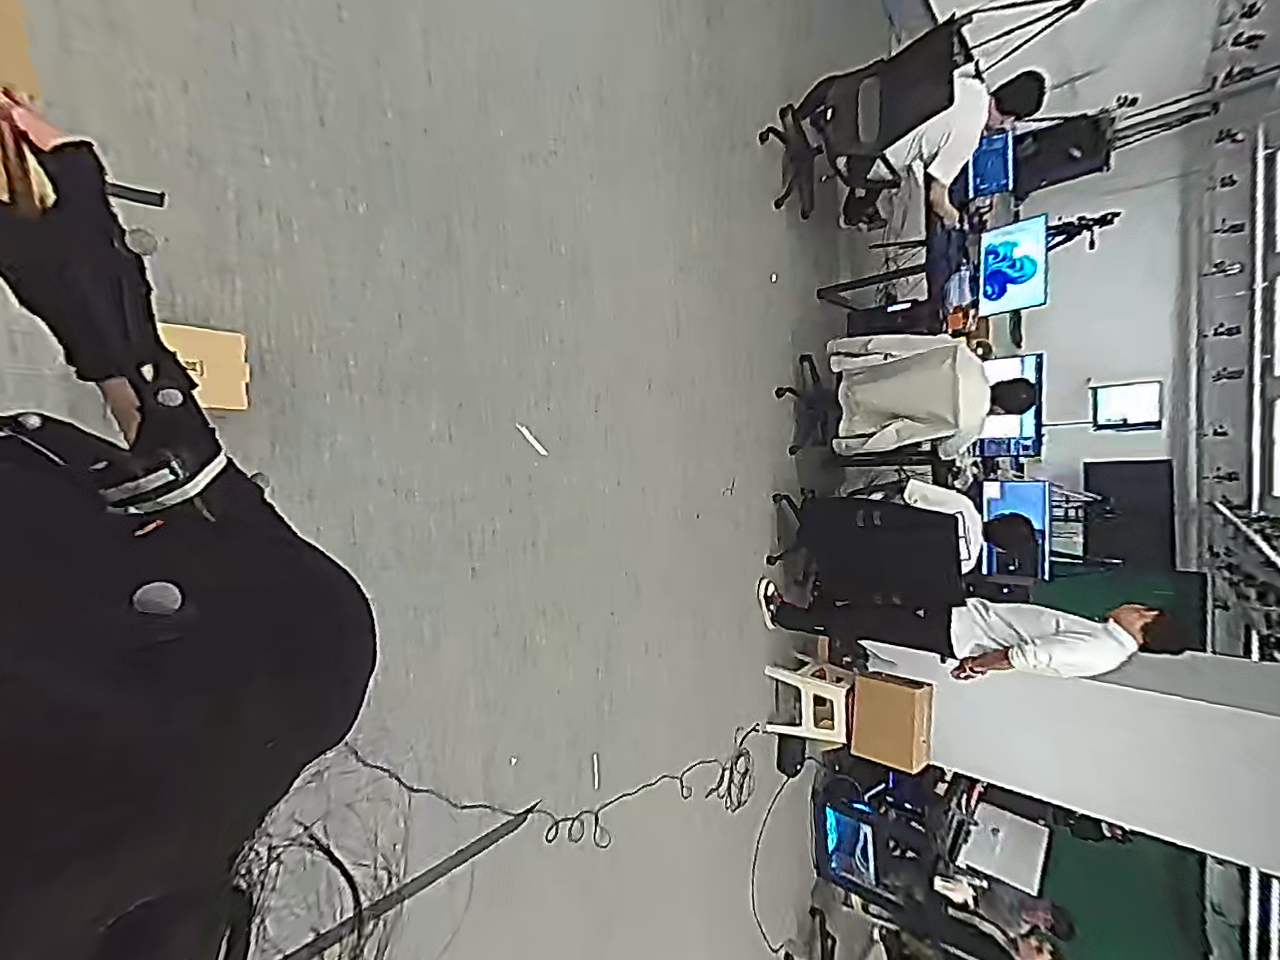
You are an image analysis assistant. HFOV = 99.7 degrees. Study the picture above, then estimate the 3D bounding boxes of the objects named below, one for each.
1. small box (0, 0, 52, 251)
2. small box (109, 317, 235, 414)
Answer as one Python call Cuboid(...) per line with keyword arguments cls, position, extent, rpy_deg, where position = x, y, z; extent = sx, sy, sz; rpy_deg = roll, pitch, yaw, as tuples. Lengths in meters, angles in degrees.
Cuboid(cls="small box", position=(-0.462, -0.242, 0.293), extent=(0.168, 0.176, 0.179), rpy_deg=(-7, 103, -38))
Cuboid(cls="small box", position=(-0.982, -0.229, 1.136), extent=(0.179, 0.176, 0.168), rpy_deg=(-2, 92, -50))
